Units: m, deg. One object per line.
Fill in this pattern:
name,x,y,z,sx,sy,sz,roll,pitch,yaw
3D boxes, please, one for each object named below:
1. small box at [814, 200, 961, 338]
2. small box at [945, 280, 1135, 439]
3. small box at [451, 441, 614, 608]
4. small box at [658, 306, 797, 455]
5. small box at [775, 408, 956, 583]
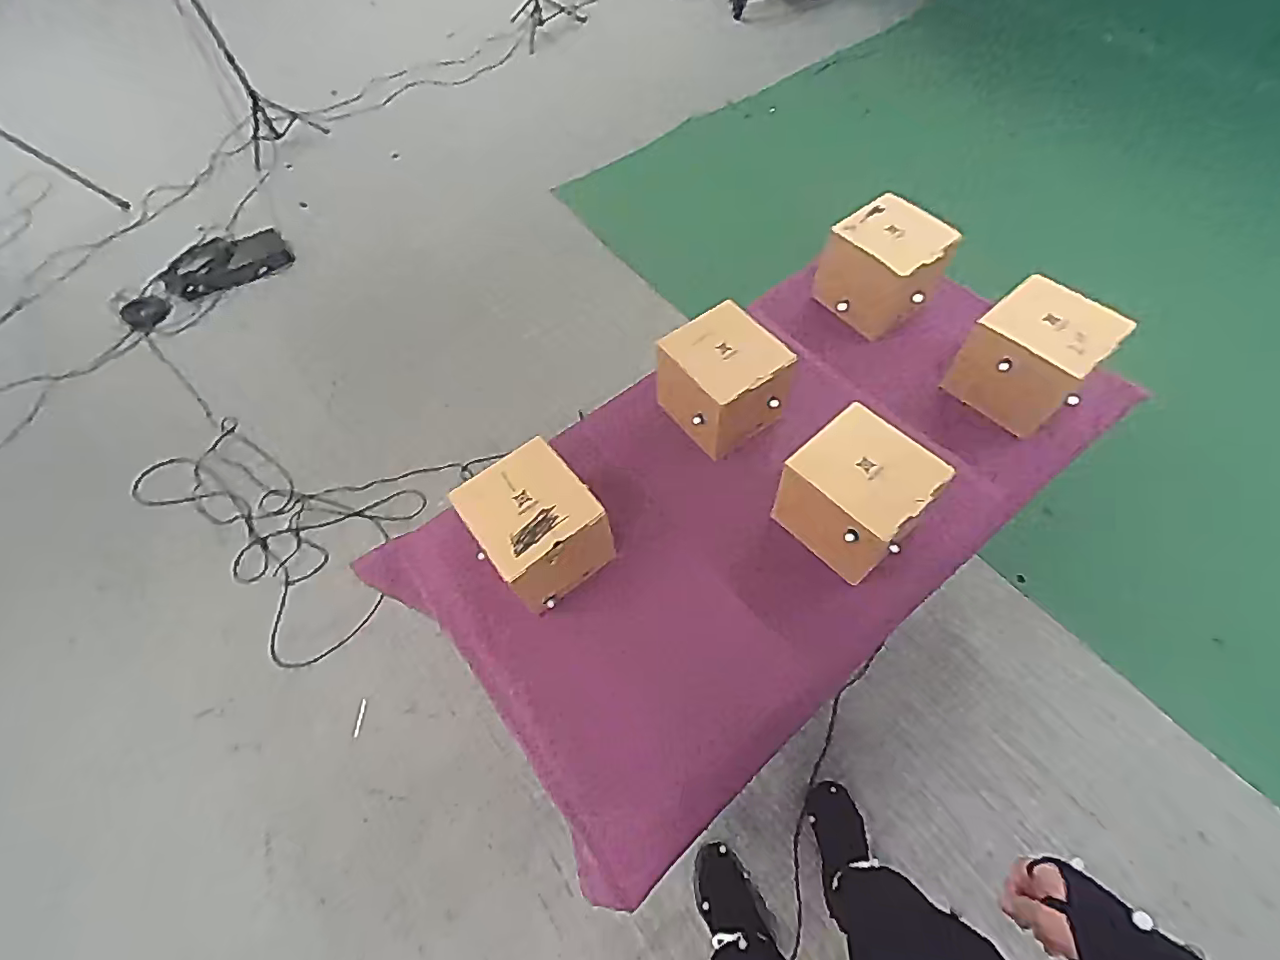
small box,0.482,-0.411,1.081,0.168,0.176,0.179,-35,66,-15
small box,0.680,-0.206,0.945,0.168,0.176,0.179,-37,63,-14
small box,-0.156,0.079,0.845,0.168,0.176,0.179,-35,63,-16
small box,0.150,-0.167,0.968,0.168,0.176,0.179,-33,63,-15
small box,0.333,0.029,0.840,0.168,0.176,0.179,-38,64,-17
